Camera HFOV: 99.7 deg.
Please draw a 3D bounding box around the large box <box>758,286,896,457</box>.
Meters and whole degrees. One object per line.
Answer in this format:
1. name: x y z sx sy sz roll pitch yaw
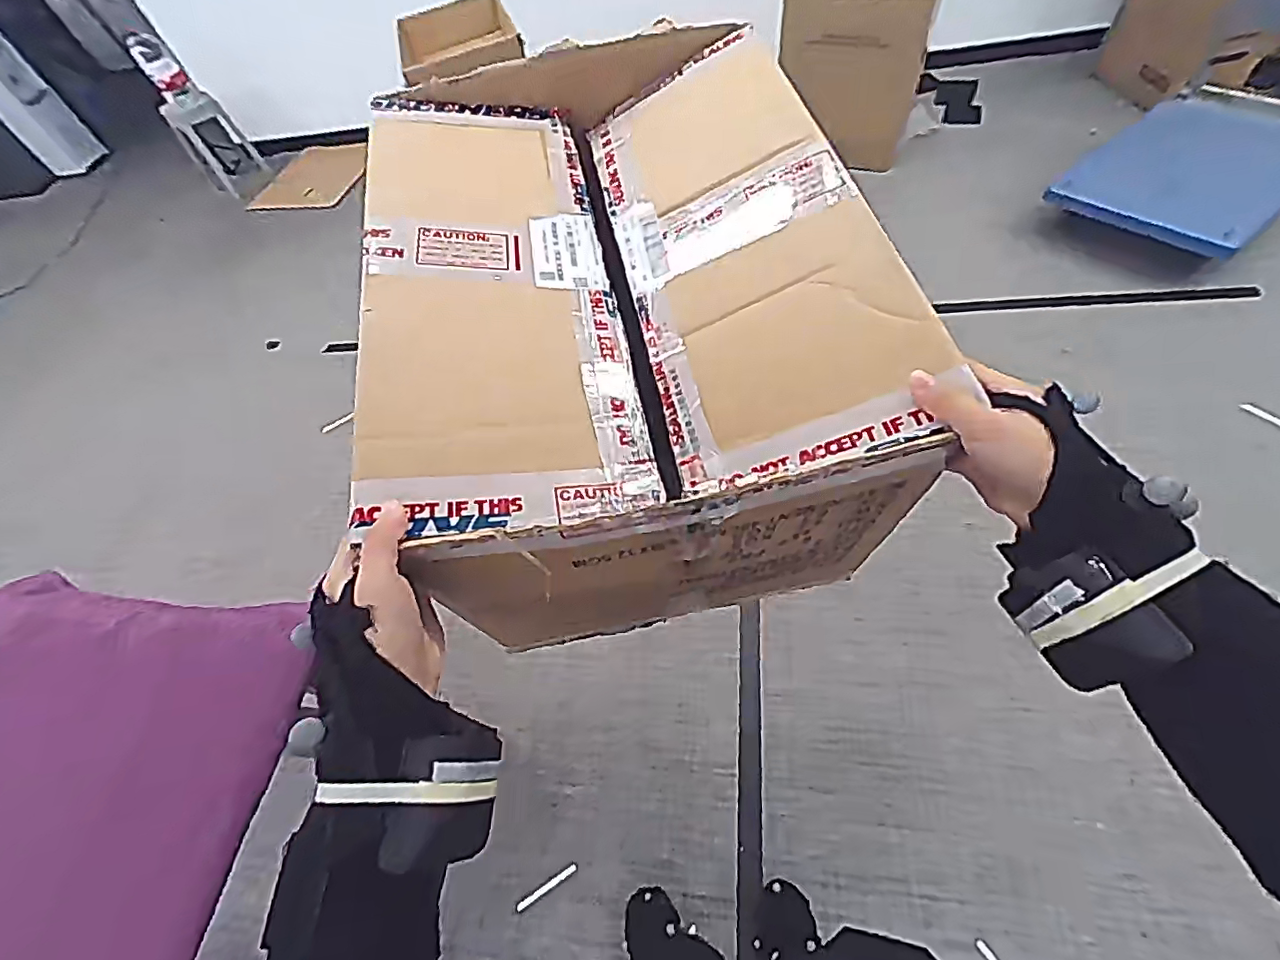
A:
1. large box: 0.527 -0.319 1.615 0.320 0.320 0.408 -2 56 10
